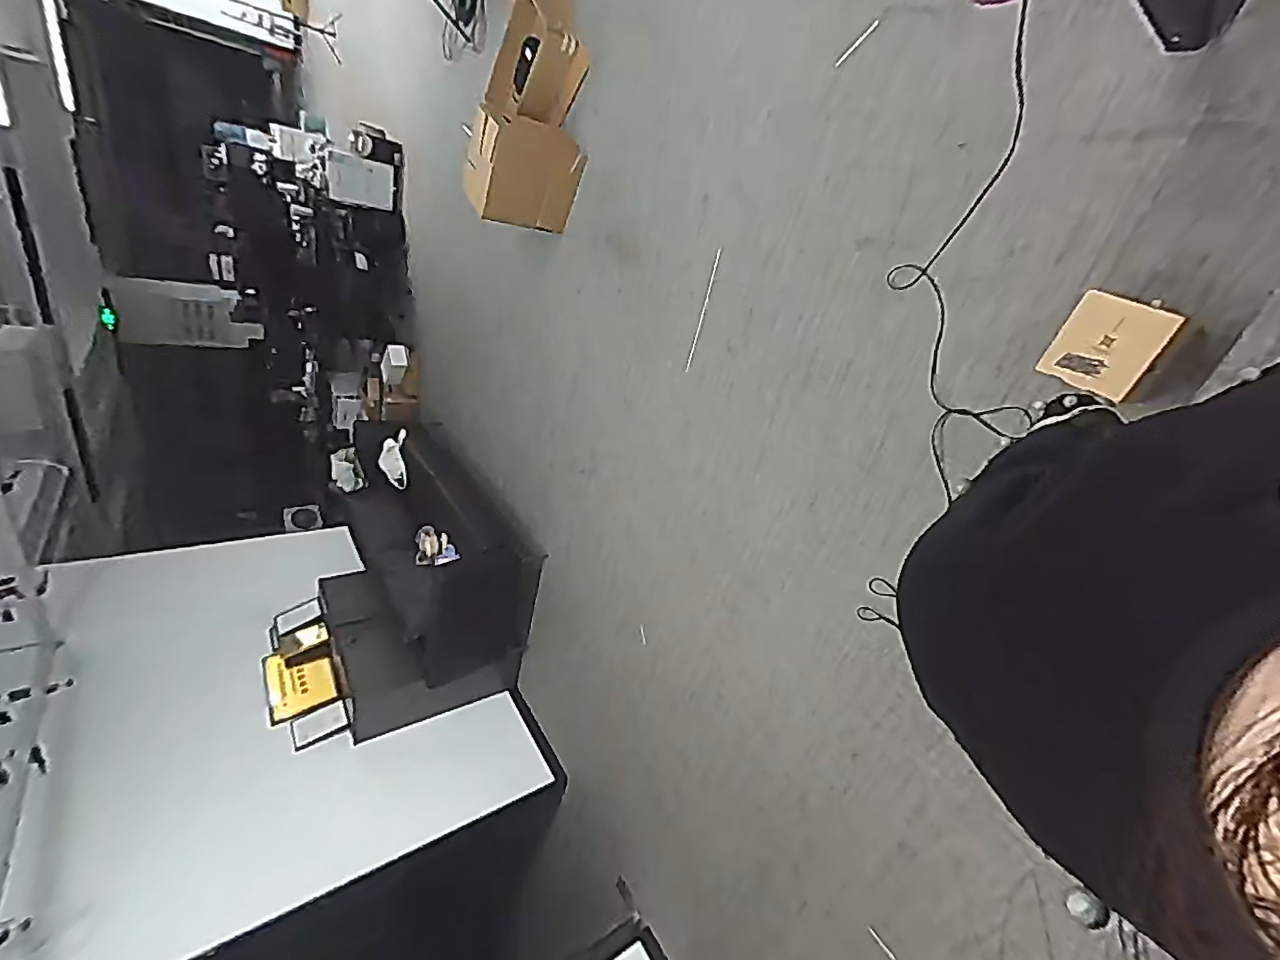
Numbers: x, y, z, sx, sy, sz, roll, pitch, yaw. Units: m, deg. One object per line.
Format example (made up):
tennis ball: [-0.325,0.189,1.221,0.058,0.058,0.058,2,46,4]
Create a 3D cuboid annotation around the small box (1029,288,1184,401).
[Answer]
small box: [0.969,-0.277,1.122,0.168,0.176,0.179,45,128,38]
